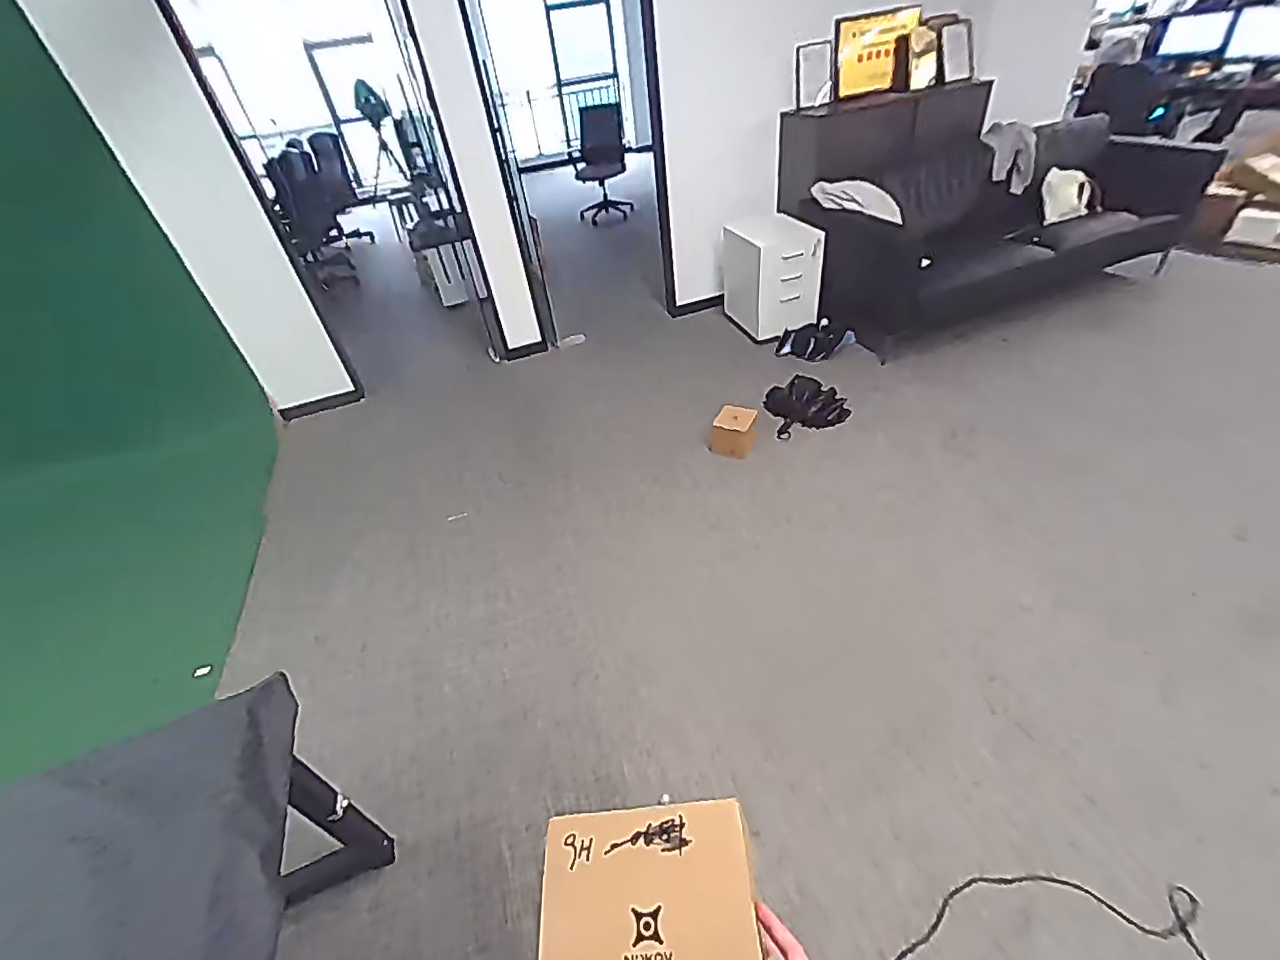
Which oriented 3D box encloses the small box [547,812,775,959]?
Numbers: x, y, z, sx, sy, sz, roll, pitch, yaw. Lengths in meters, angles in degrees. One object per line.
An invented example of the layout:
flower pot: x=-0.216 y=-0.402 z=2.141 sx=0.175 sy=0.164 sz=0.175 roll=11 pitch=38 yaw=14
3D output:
small box: x=0.027 y=0.398 z=0.443 sx=0.168 sy=0.176 sz=0.179 roll=-9 pitch=44 yaw=5
